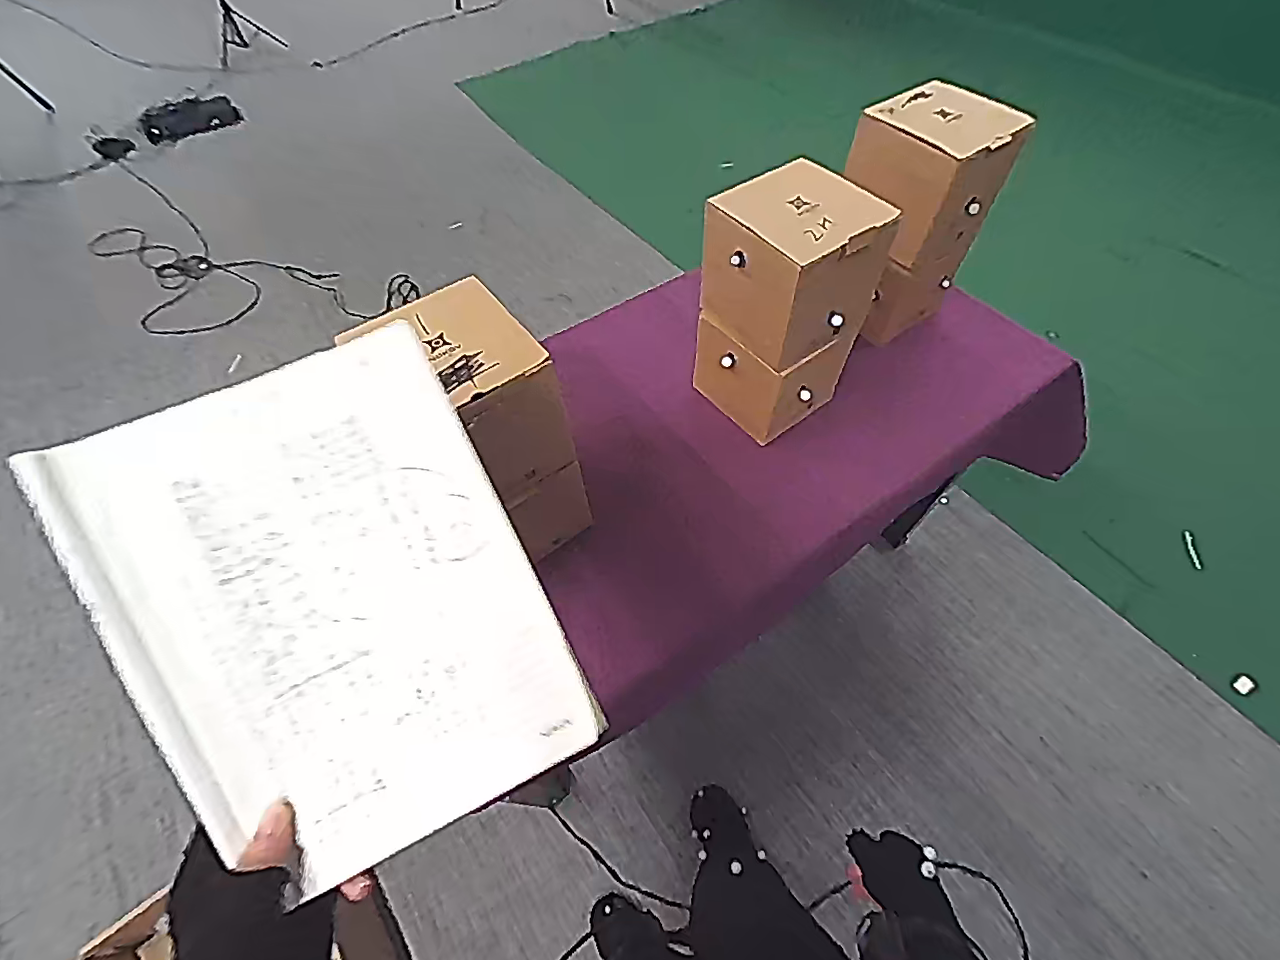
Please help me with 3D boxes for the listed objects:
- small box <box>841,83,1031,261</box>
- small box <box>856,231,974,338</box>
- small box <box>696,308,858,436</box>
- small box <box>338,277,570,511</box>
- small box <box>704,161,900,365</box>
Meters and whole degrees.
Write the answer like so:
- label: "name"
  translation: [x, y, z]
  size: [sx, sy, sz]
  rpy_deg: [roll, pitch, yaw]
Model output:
- label: "small box"
  translation: [0.434, -0.466, 0.836]
  size: [0.168, 0.176, 0.179]
  rpy_deg: [-30, 62, -18]
- label: "small box"
  translation: [0.443, -0.381, 0.977]
  size: [0.168, 0.176, 0.179]
  rpy_deg: [-31, 61, -17]
- label: "small box"
  translation: [0.207, -0.194, 0.866]
  size: [0.168, 0.176, 0.179]
  rpy_deg: [-34, 62, -18]
- label: "small box"
  translation: [-0.196, -0.088, 0.612]
  size: [0.168, 0.176, 0.179]
  rpy_deg: [-32, 60, -18]
- label: "small box"
  translation: [0.201, -0.289, 0.730]
  size: [0.168, 0.176, 0.179]
  rpy_deg: [-31, 61, -16]
